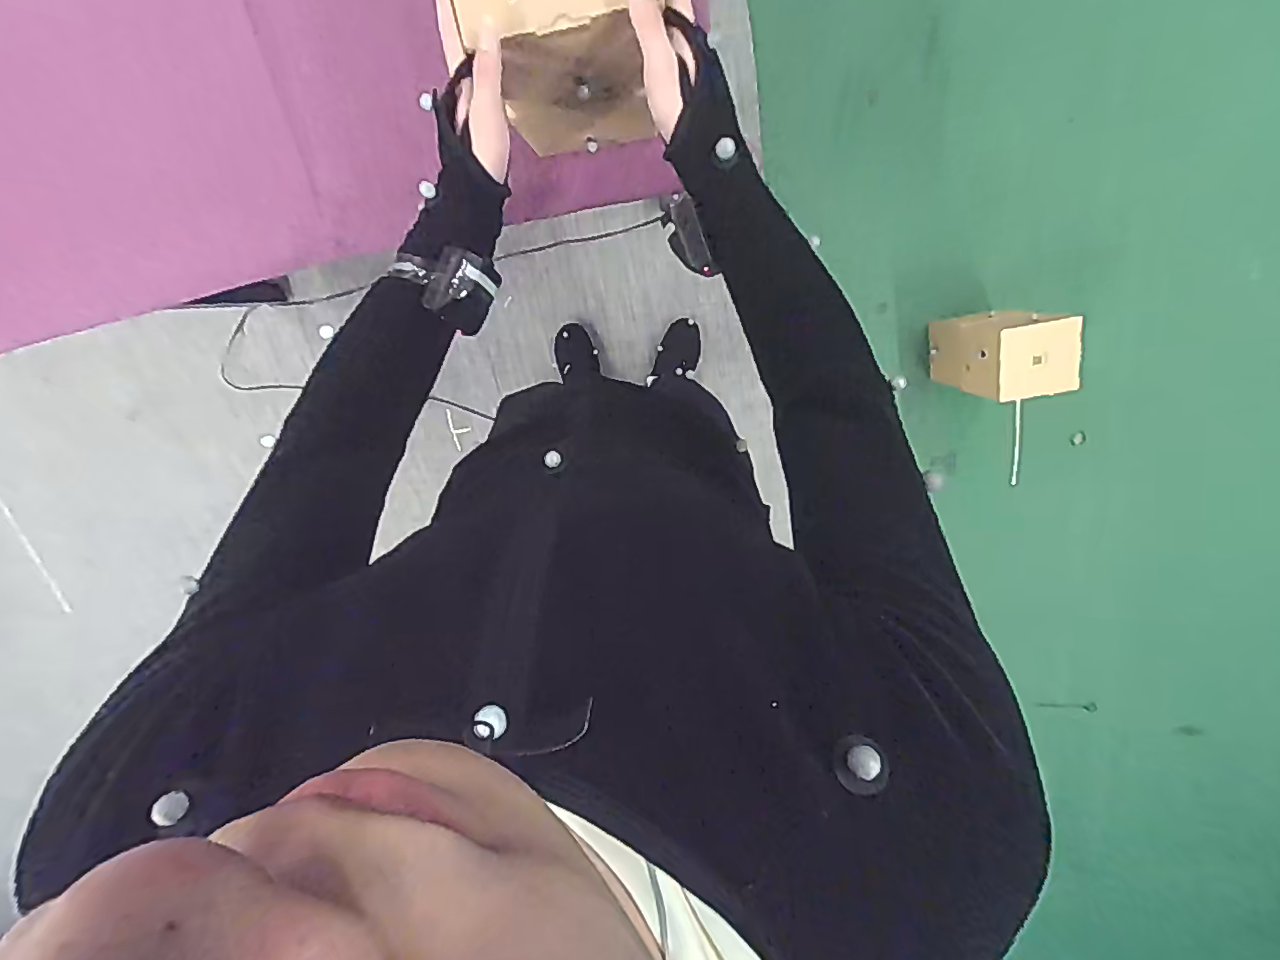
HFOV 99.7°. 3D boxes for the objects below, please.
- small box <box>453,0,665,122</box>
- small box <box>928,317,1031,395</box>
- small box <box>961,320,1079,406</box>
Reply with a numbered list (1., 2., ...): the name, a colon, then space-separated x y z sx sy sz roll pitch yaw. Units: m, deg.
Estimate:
1. small box: -0.071 -0.457 0.480 0.168 0.176 0.179 -8 107 6
2. small box: 0.894 -0.333 1.436 0.179 0.176 0.168 -10 107 6
3. small box: 0.891 -0.280 1.284 0.179 0.176 0.168 -10 107 4
